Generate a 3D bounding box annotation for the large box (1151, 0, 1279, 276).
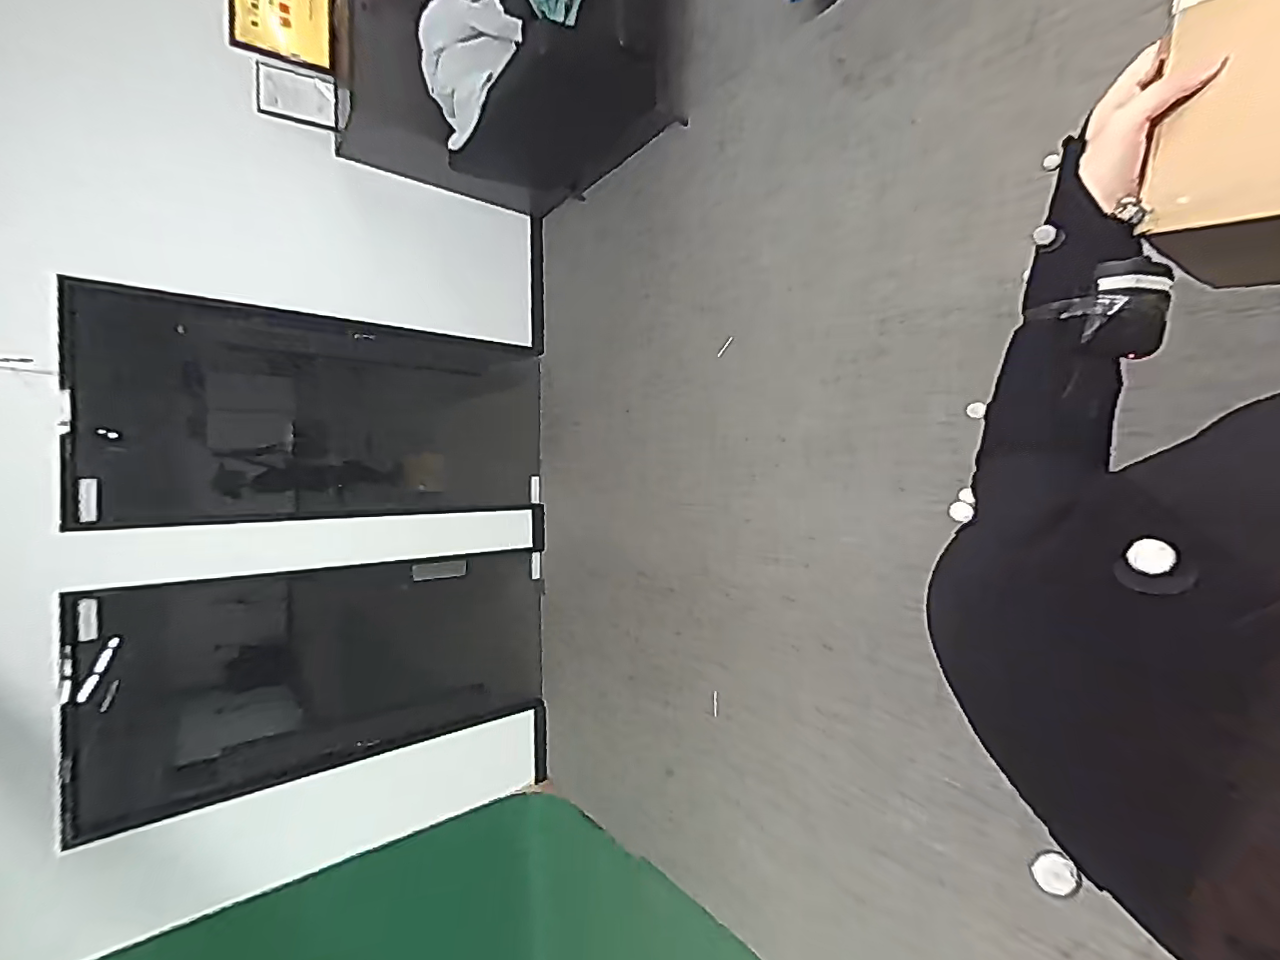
[{"bbox_3d":[0.631,-0.326,0.315,0.408,0.320,0.320,15,106,54],"label":"large box"}]
